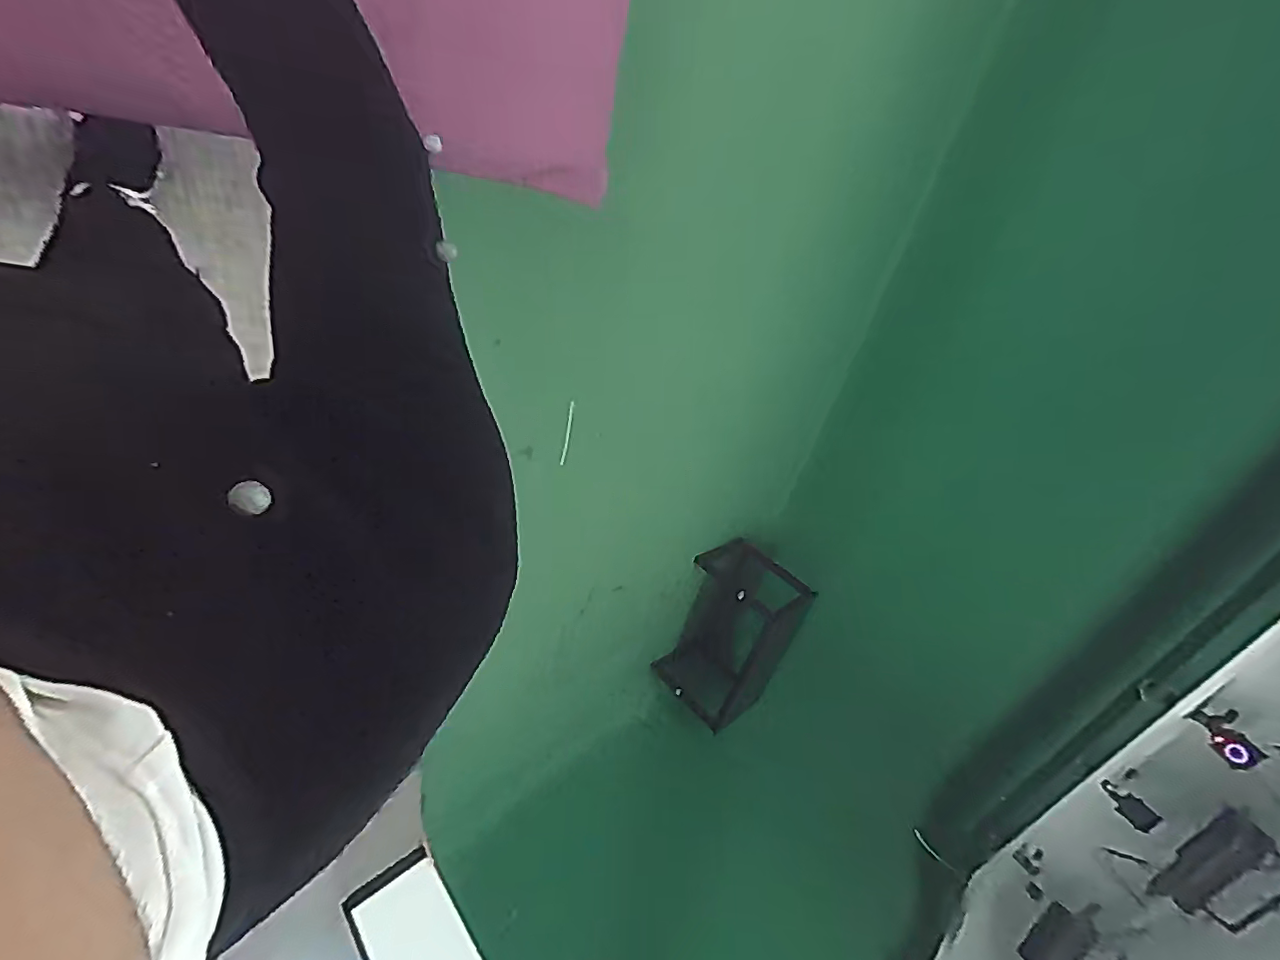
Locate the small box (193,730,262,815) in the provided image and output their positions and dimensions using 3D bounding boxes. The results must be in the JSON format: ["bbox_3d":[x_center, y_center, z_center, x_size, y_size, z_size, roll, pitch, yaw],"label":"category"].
[{"bbox_3d":[-1.450,1.025,1.905,0.168,0.176,0.179,-14,133,-44],"label":"small box"}]

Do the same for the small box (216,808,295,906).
[{"bbox_3d":[-1.230,1.193,1.728,0.168,0.176,0.179,-16,135,-43],"label":"small box"}]

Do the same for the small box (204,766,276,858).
[{"bbox_3d":[-1.340,1.109,1.816,0.168,0.176,0.179,-14,132,-45],"label":"small box"}]
